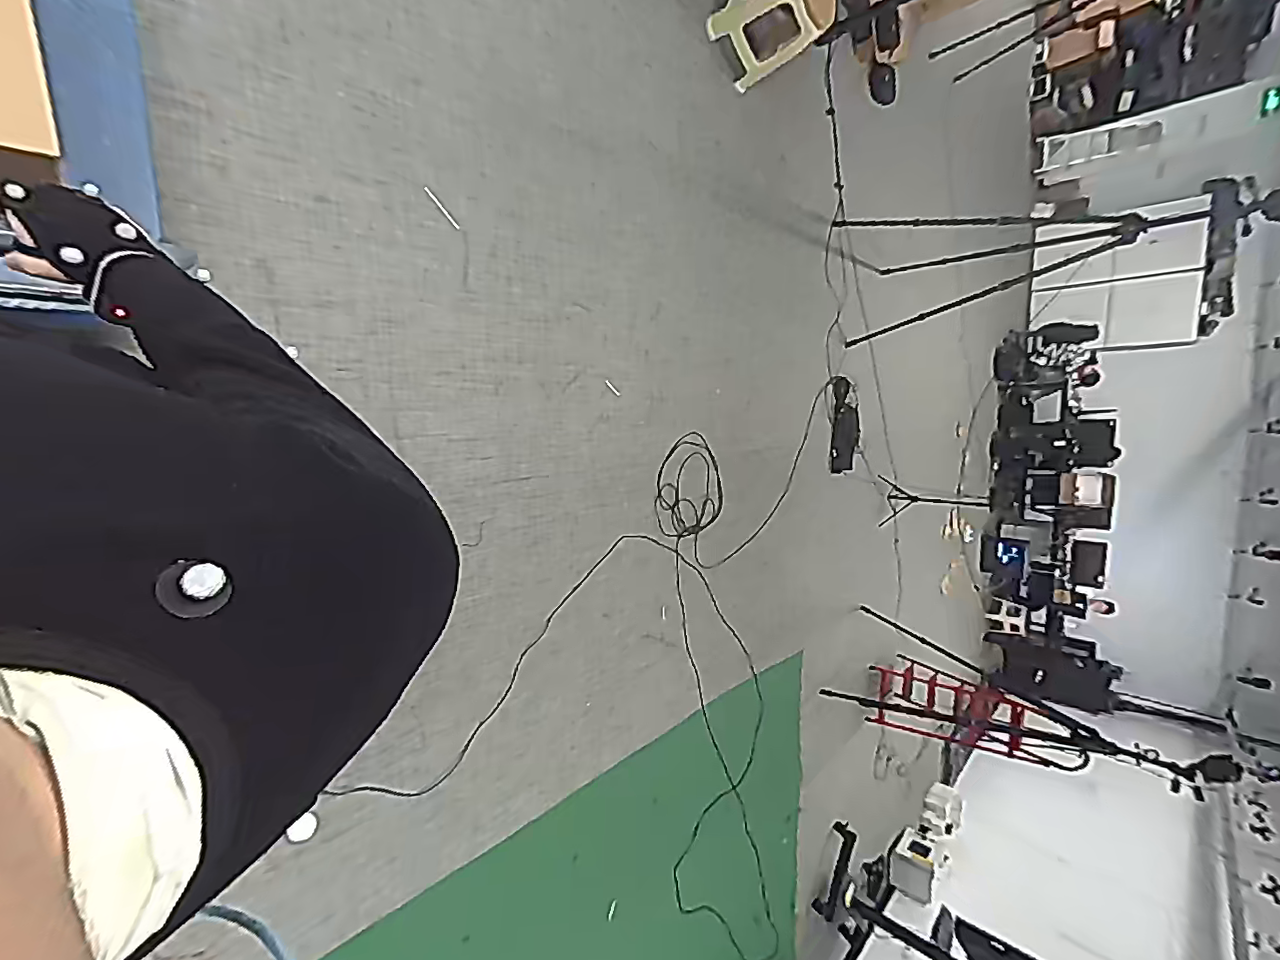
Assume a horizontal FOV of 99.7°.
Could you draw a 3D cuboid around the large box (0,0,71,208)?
[{"bbox_3d":[-1.083,-0.660,0.769,0.320,0.320,0.408,-12,103,-44],"label":"large box"}]
